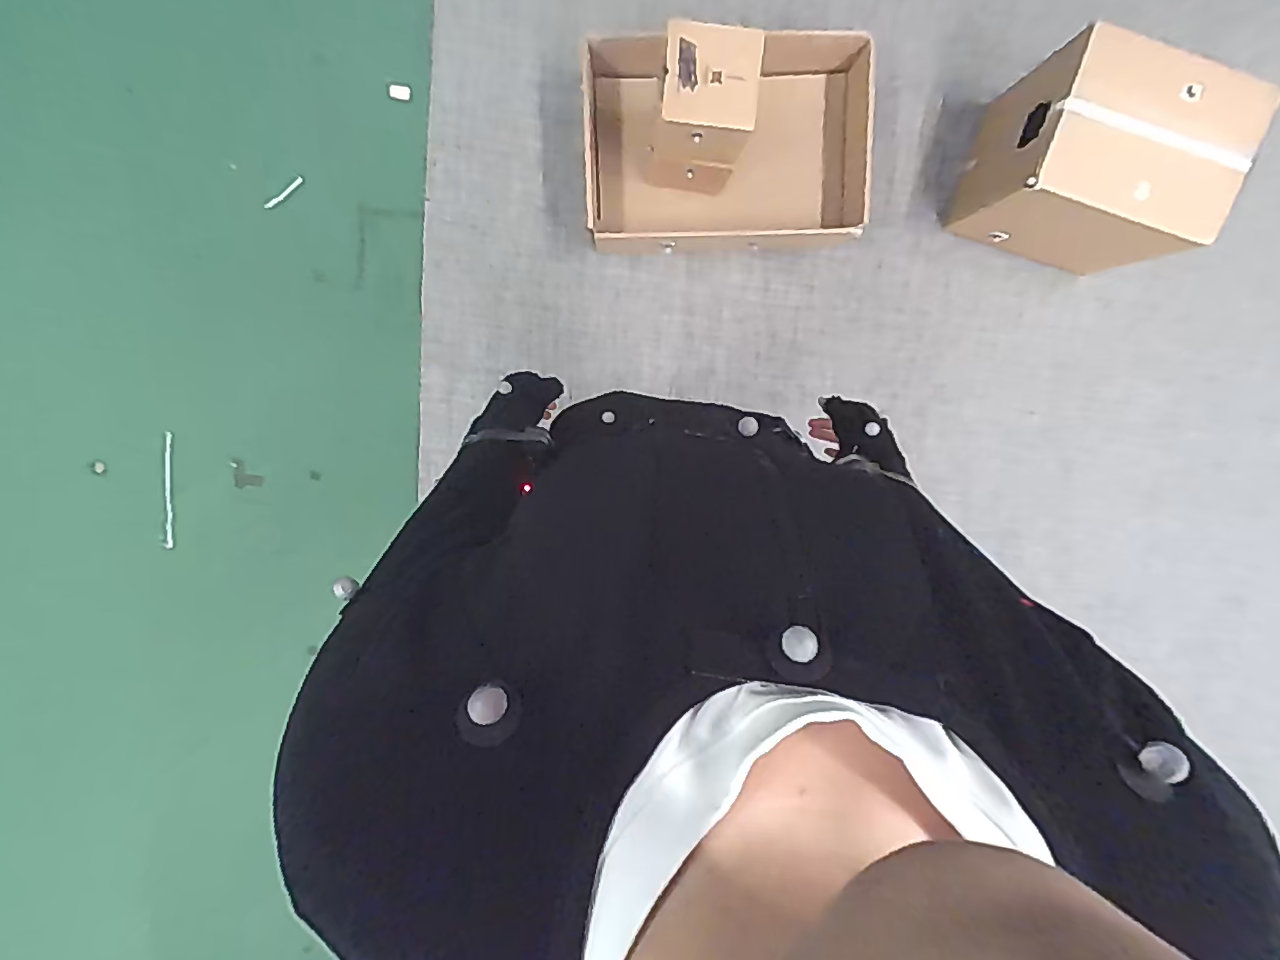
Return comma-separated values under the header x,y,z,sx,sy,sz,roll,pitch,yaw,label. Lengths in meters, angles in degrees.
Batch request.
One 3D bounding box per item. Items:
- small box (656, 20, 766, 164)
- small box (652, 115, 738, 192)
x,y,z,sx,sy,sz,roll,pitch,yaw,label
0.128,-0.740,1.050,0.179,0.176,0.168,4,100,-4,small box
0.124,-0.767,1.213,0.179,0.176,0.168,5,100,-5,small box
